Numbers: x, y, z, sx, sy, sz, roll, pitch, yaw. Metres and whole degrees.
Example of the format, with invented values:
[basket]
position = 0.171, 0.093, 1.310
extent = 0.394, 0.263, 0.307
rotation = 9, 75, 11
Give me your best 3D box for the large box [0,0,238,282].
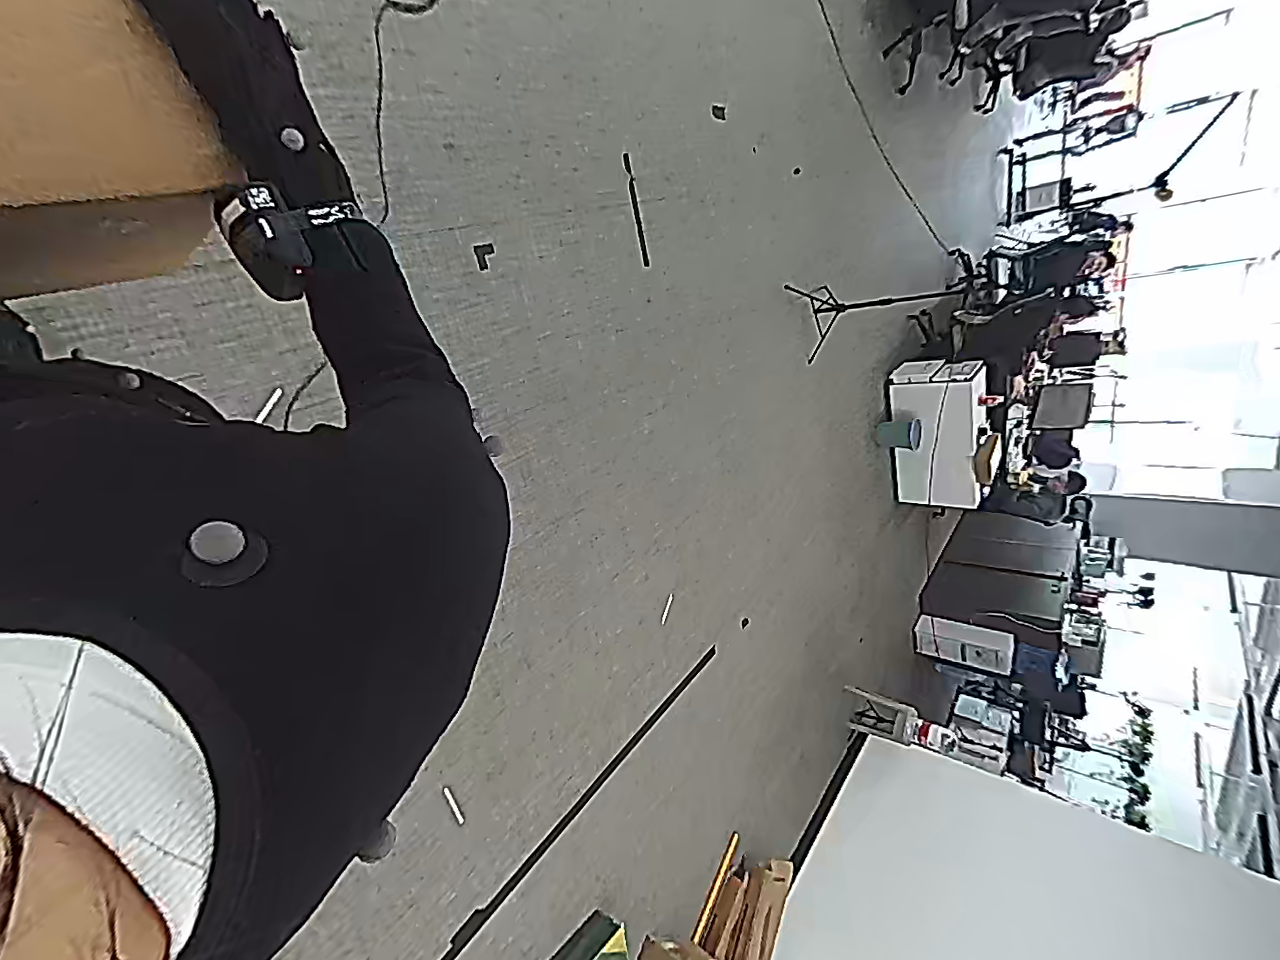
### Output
[large box]
position = -0.550, -0.272, 0.291
extent = 0.408, 0.320, 0.320
rotation = -36, 121, -41
